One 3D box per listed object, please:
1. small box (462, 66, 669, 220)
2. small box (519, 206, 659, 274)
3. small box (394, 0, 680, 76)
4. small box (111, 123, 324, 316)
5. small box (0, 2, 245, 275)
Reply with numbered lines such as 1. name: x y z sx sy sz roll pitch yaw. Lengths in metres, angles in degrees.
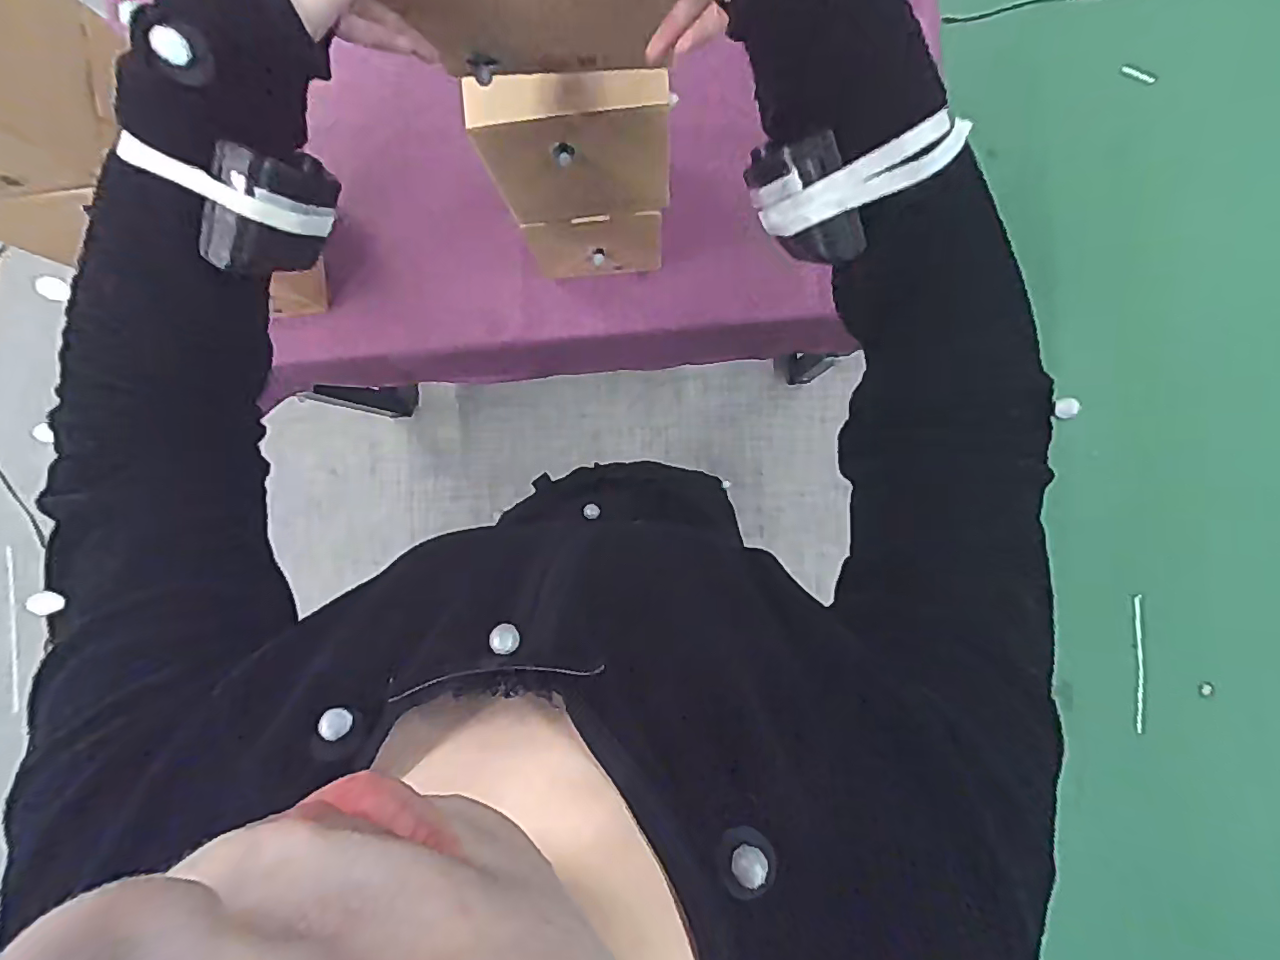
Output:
1. small box: -0.063 -0.379 0.536 0.179 0.176 0.168 -5 90 2
2. small box: -0.061 -0.380 0.702 0.168 0.176 0.179 -4 90 1
3. small box: -0.058 -0.351 0.296 0.168 0.176 0.179 -1 107 0
4. small box: -0.548 -0.326 0.715 0.168 0.176 0.179 -5 89 0
5. small box: -0.556 -0.327 0.553 0.179 0.176 0.168 -8 90 0
